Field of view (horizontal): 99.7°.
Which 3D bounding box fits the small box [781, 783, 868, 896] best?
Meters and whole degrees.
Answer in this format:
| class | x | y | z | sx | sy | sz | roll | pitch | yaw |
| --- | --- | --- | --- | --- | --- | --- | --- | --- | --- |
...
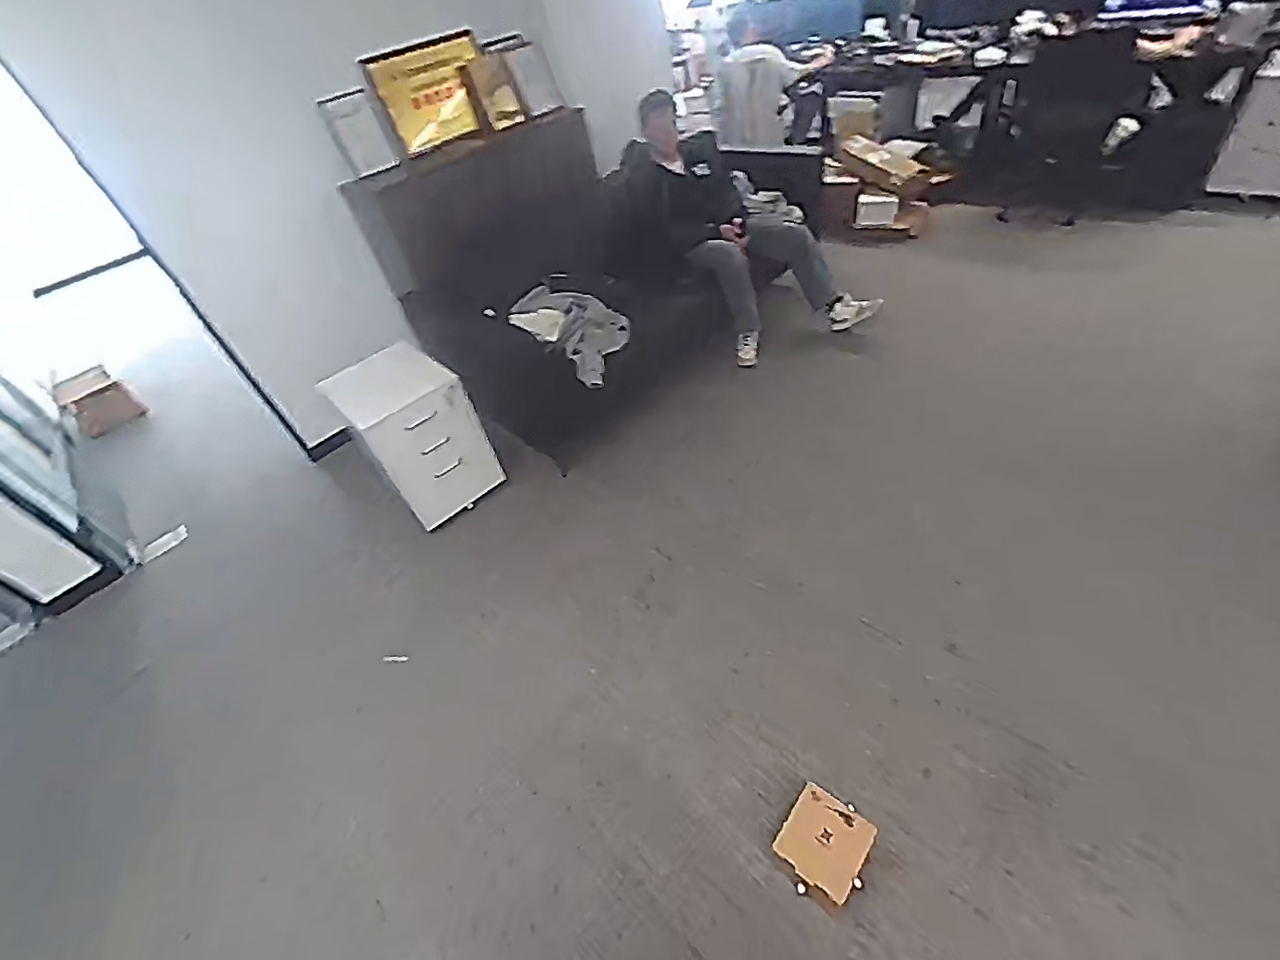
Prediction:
| class | x | y | z | sx | sy | sz | roll | pitch | yaw |
| --- | --- | --- | --- | --- | --- | --- | --- | --- | --- |
| small box | 0.421 | 0.829 | 1.245 | 0.179 | 0.176 | 0.168 | -1 | 42 | 17 |
